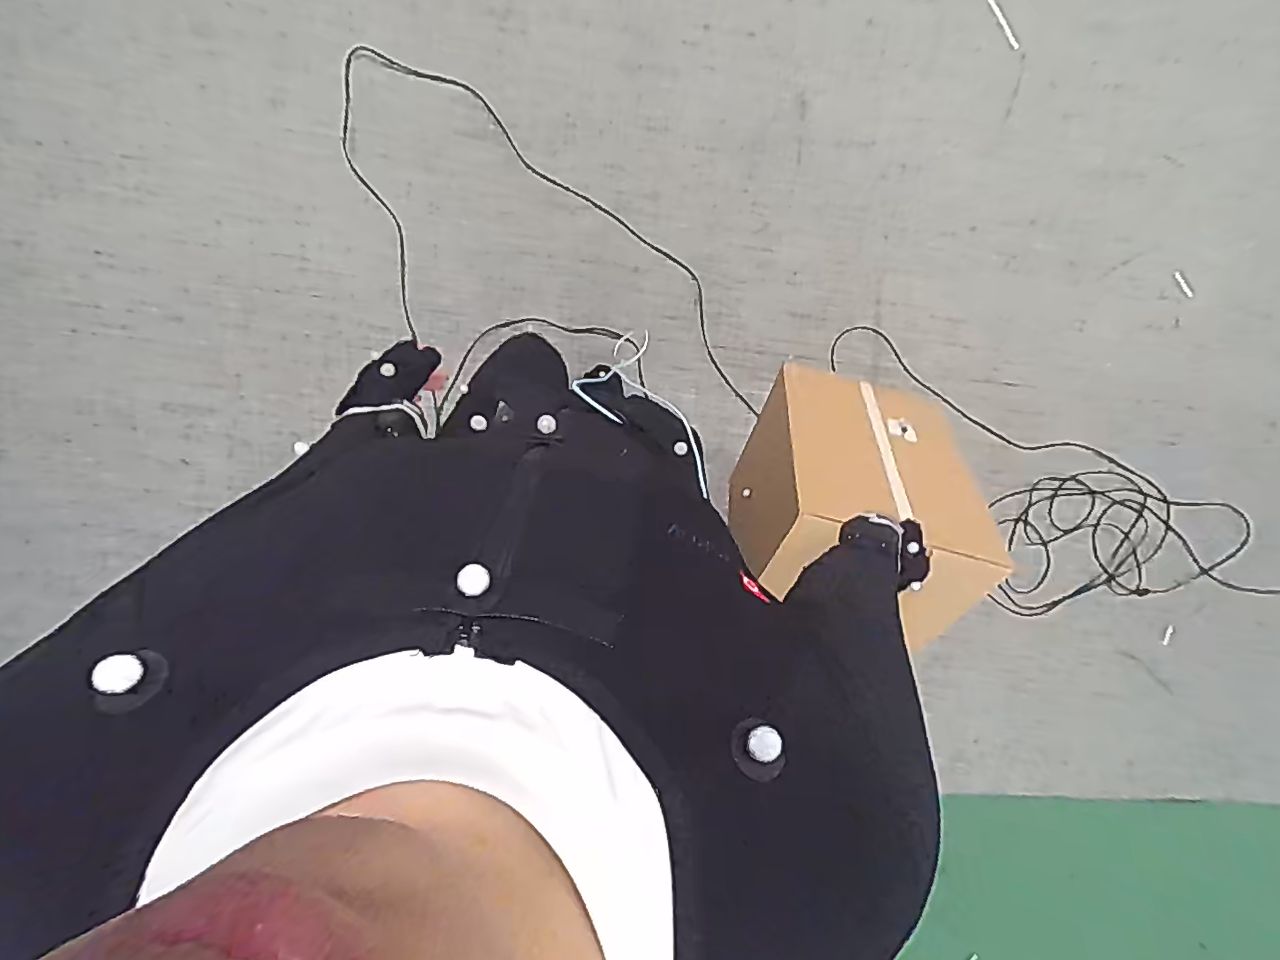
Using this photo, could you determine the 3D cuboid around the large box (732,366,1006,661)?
[{"bbox_3d":[0.361,0.056,0.990,0.320,0.408,0.320,15,133,-3],"label":"large box"}]
